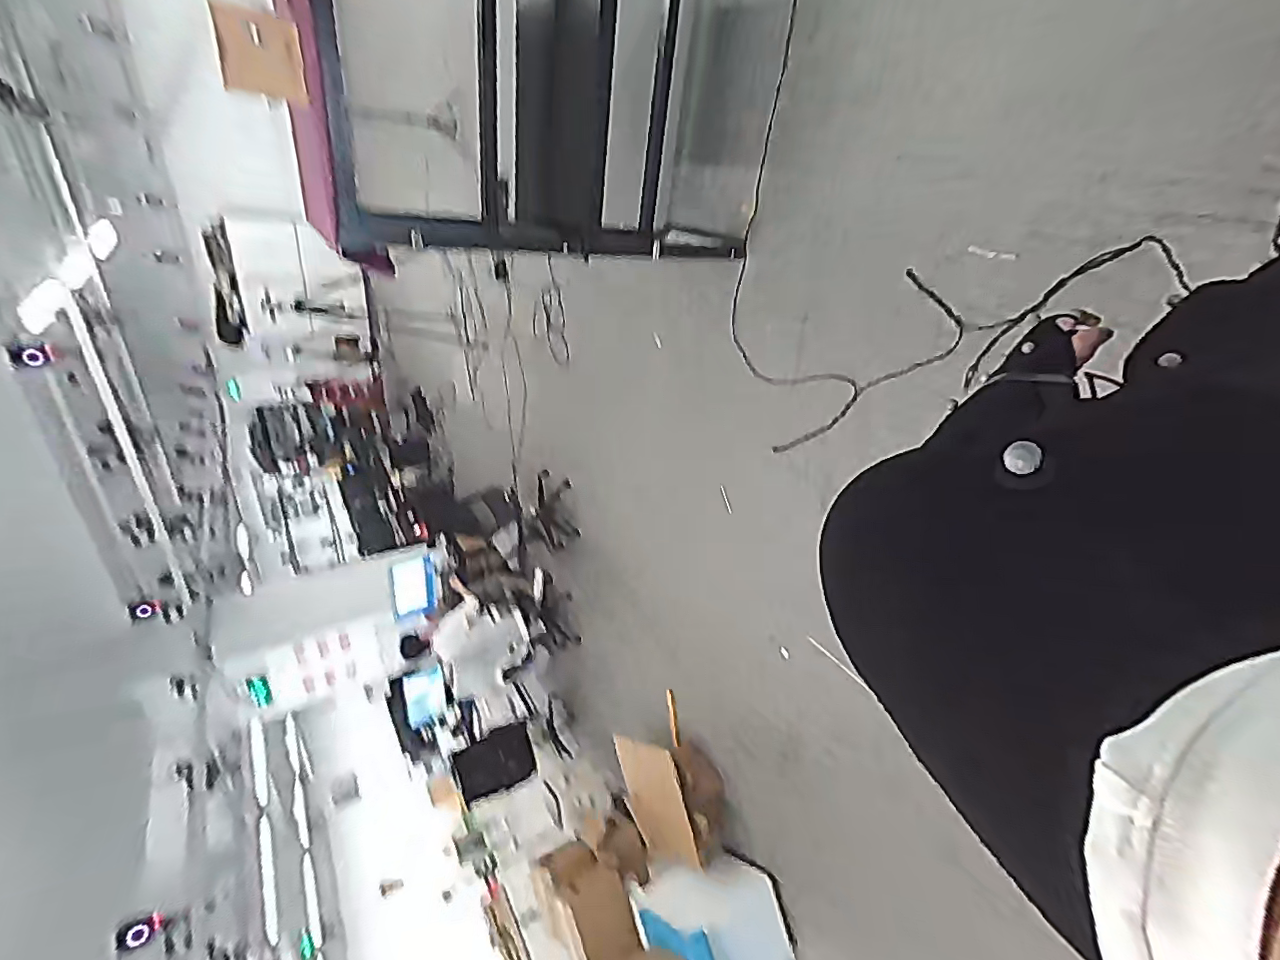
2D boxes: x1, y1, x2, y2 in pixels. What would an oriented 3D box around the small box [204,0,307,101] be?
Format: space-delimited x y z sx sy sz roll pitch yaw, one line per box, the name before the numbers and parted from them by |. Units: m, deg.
small box | -0.894 -1.005 1.267 0.179 0.176 0.168 43 134 43
